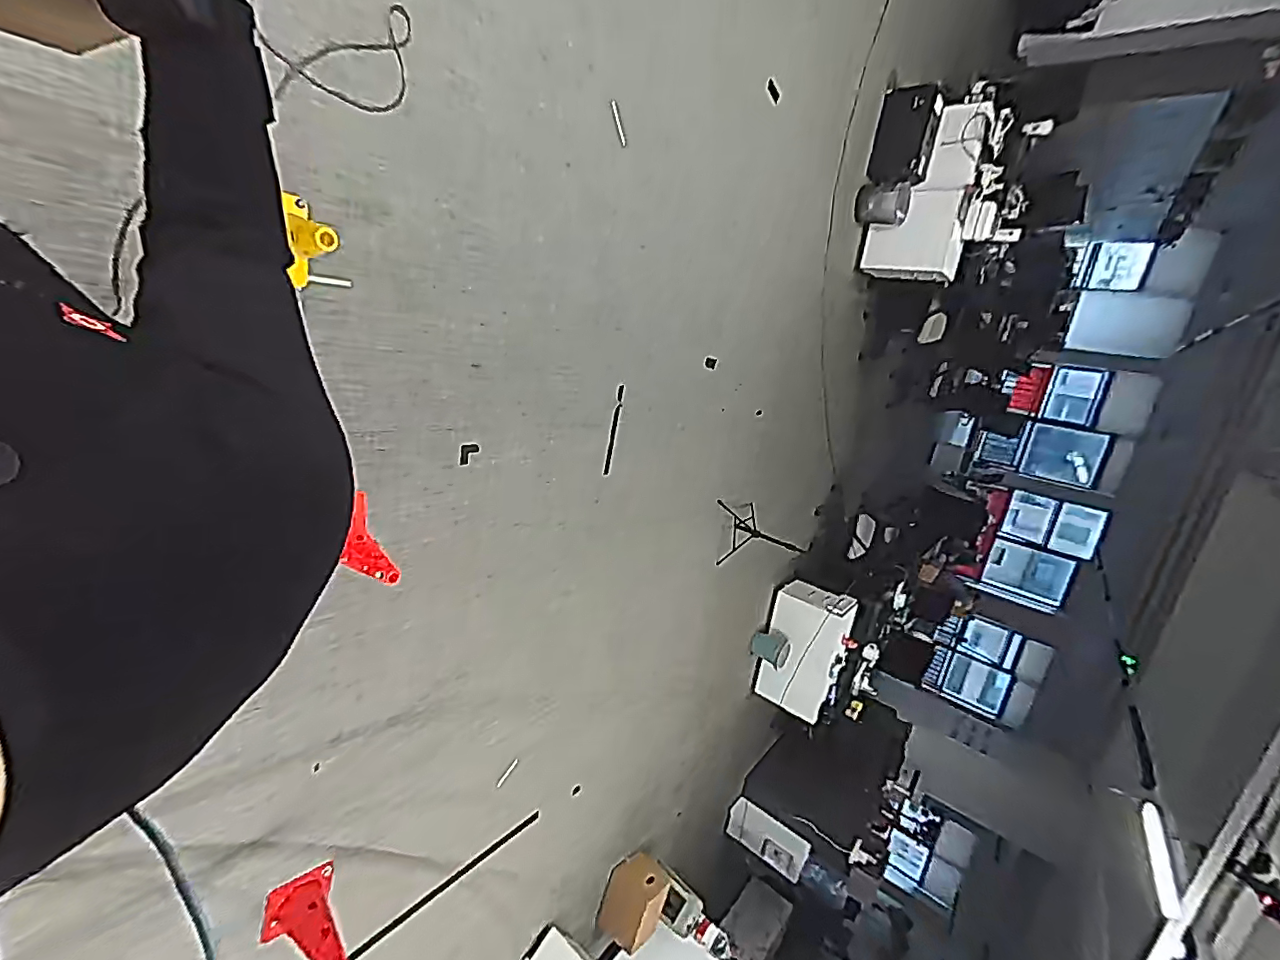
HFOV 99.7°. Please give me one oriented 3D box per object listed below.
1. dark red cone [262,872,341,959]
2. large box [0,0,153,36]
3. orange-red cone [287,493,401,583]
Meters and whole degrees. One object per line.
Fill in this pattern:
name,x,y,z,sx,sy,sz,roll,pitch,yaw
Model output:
dark red cone,-0.976,1.438,1.651,0.201,0.394,0.202,1,105,-52
large box,-0.535,-0.488,0.246,0.408,0.320,0.320,-13,122,-52
orange-red cone,-0.735,0.184,1.404,0.198,0.360,0.199,-13,115,-51
